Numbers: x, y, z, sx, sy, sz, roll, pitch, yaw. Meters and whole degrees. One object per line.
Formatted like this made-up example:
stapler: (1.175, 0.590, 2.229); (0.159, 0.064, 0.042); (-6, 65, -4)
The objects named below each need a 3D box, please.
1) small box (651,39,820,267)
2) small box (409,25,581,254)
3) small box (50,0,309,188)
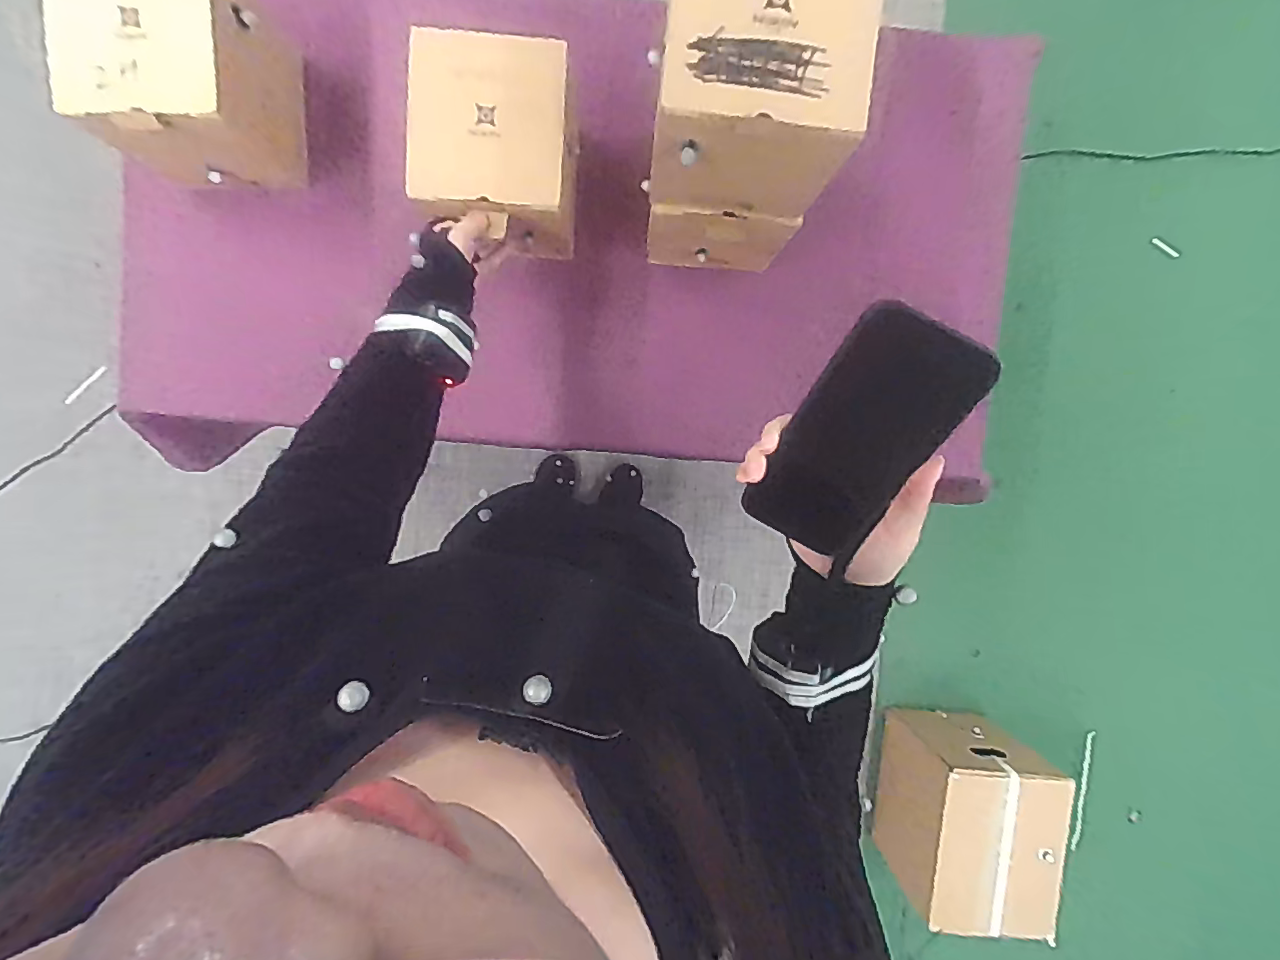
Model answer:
small box: (0.104, -0.381, 0.661); (0.168, 0.176, 0.179); (4, 95, -2)
small box: (-0.162, -0.390, 0.652); (0.168, 0.176, 0.179); (4, 94, -3)
small box: (-0.517, -0.471, 0.632); (0.168, 0.176, 0.179); (0, 95, -2)
